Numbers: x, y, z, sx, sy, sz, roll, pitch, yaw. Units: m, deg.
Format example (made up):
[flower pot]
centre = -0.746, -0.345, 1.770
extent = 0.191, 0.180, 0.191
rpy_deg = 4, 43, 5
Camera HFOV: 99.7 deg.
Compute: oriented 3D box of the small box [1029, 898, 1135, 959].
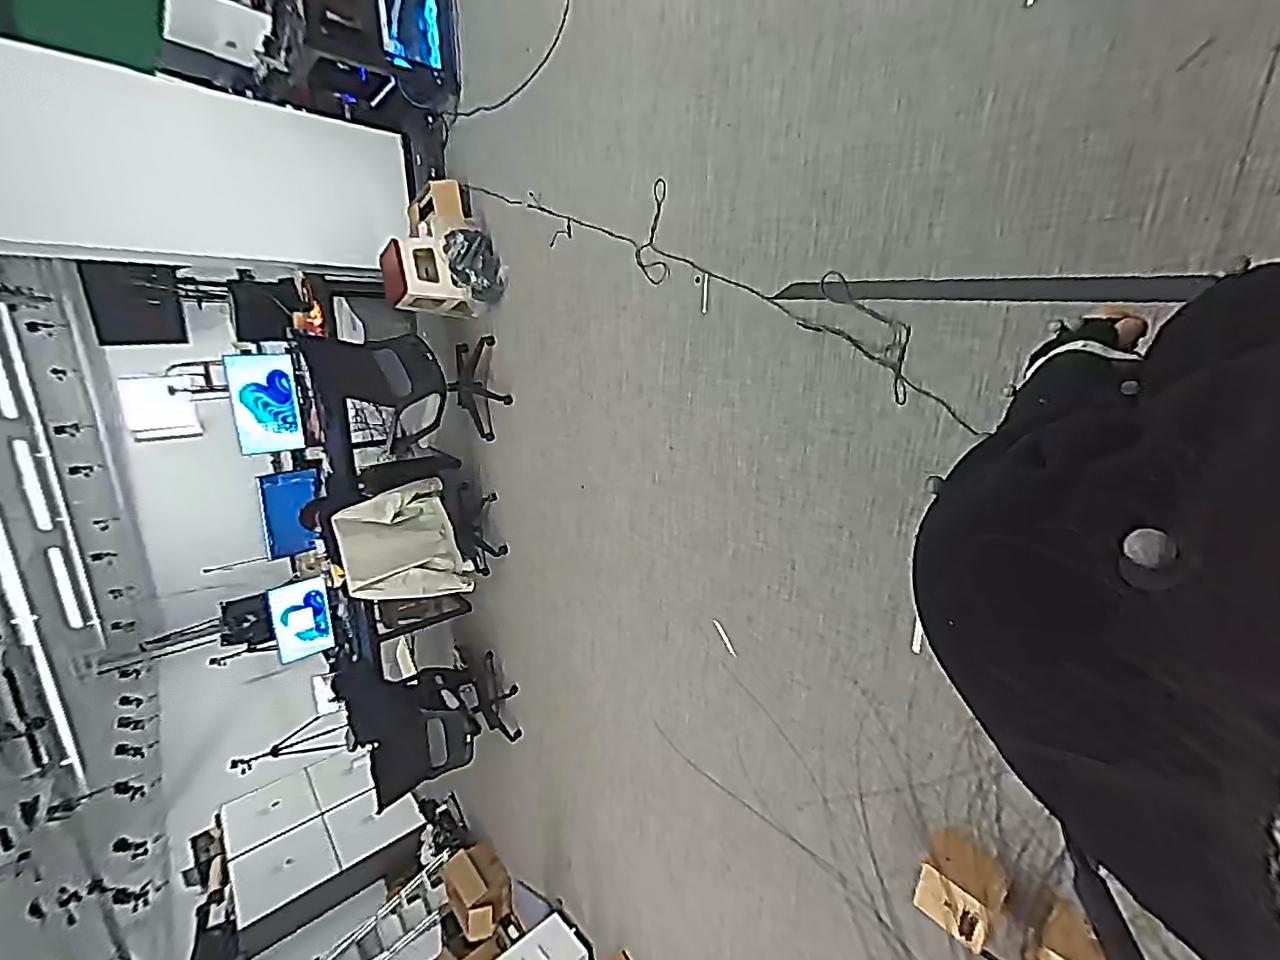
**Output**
[small box]
centre = 1.075, 1.196, 1.325
extent = 0.168, 0.176, 0.179
rpy_deg = 22, 116, 44
